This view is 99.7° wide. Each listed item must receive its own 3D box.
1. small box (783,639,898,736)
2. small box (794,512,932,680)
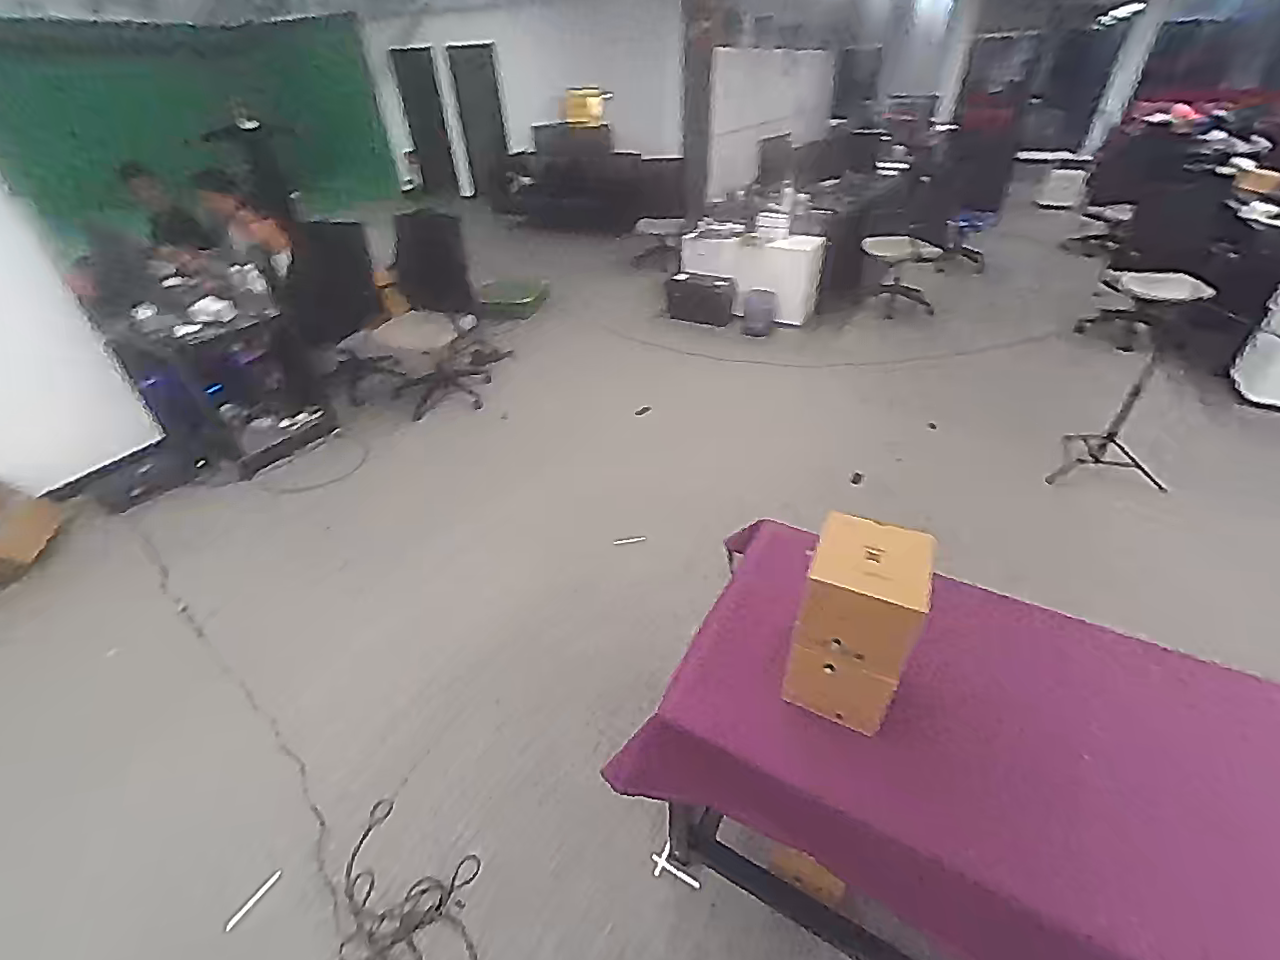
[{"bbox_3d":[0.368,0.320,0.982,0.168,0.176,0.179,16,40,23],"label":"small box"},{"bbox_3d":[0.361,0.186,0.887,0.168,0.176,0.179,15,40,22],"label":"small box"}]
